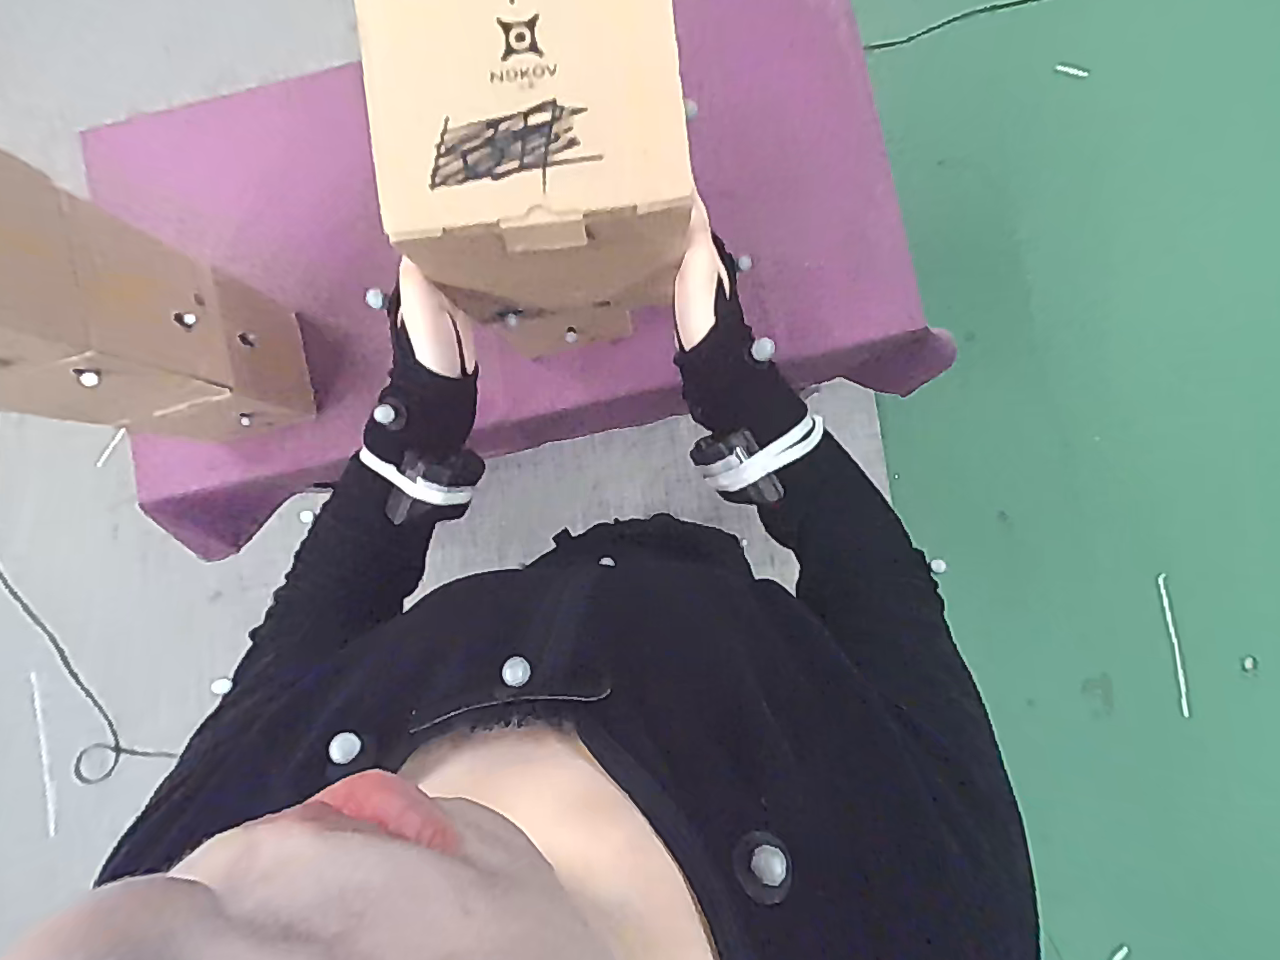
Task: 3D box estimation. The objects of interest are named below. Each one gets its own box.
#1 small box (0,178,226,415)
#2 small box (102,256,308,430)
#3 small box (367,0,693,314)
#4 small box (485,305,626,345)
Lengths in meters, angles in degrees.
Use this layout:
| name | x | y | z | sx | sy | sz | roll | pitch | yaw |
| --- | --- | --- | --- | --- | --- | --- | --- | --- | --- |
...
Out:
| name | x | y | z | sx | sy | sz | roll | pitch | yaw |
| --- | --- | --- | --- | --- | --- | --- | --- | --- | --- |
| small box | -0.602 | -0.177 | 0.578 | 0.179 | 0.176 | 0.168 | -15 | 88 | 0 |
| small box | -0.591 | -0.171 | 0.740 | 0.168 | 0.176 | 0.179 | -13 | 87 | 1 |
| small box | -0.058 | -0.221 | 0.365 | 0.168 | 0.176 | 0.179 | -6 | 90 | 0 |
| small box | -0.116 | -0.291 | 0.724 | 0.168 | 0.176 | 0.179 | -12 | 88 | 2 |
